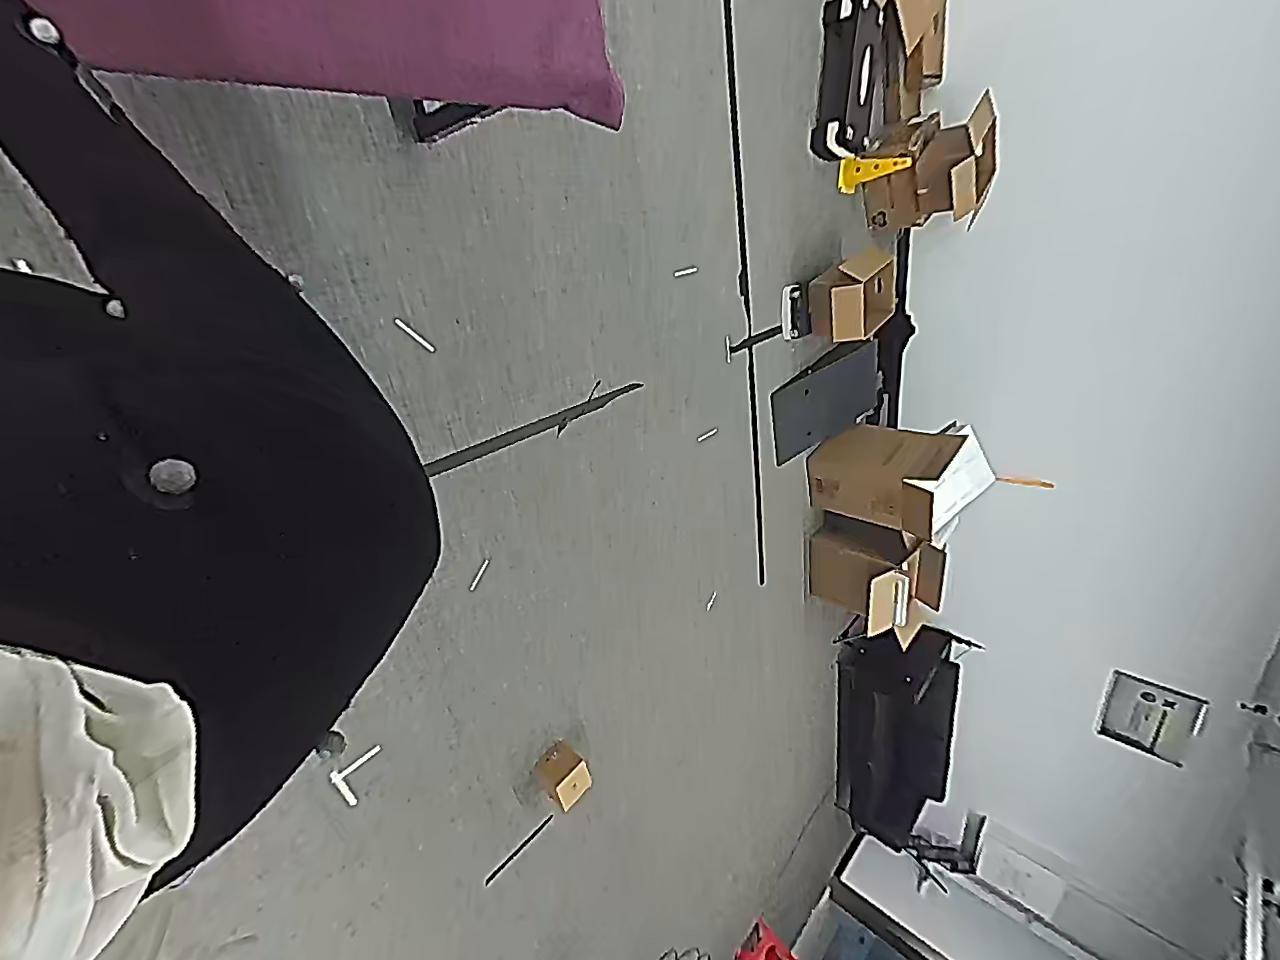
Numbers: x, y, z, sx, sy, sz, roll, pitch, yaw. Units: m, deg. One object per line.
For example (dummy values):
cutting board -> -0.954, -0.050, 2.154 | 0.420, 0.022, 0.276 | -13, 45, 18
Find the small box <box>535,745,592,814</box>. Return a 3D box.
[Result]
small box -> -0.342, 1.329, 2.416 | 0.168, 0.176, 0.179 | -34, 124, -36
